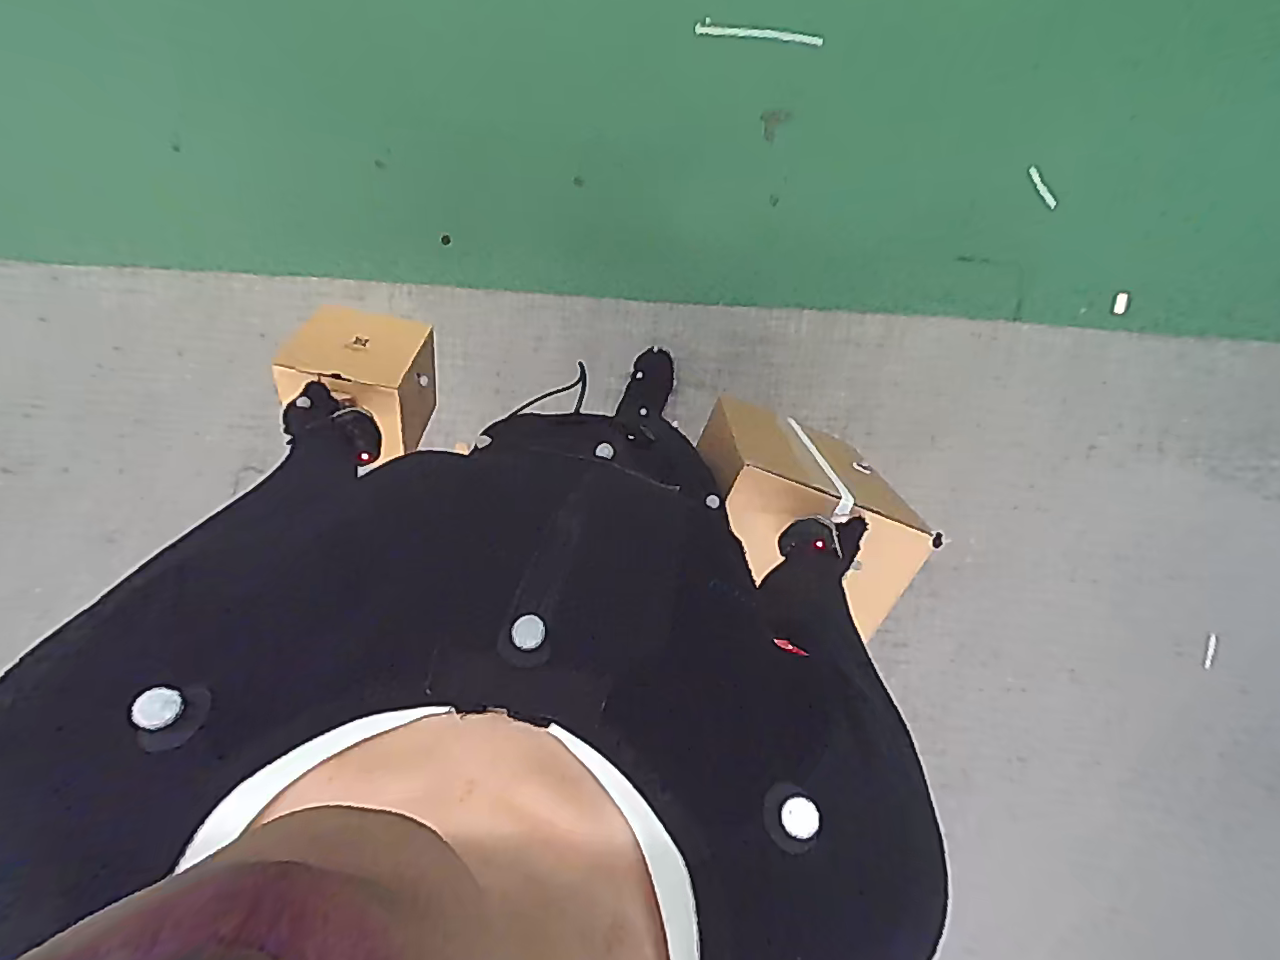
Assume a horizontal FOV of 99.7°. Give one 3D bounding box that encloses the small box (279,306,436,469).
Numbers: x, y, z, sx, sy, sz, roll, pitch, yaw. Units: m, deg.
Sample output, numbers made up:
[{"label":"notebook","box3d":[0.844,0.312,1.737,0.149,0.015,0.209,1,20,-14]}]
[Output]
[{"label":"small box","box3d":[-0.429,-0.145,0.857,0.168,0.179,0.176,9,135,-9]}]
